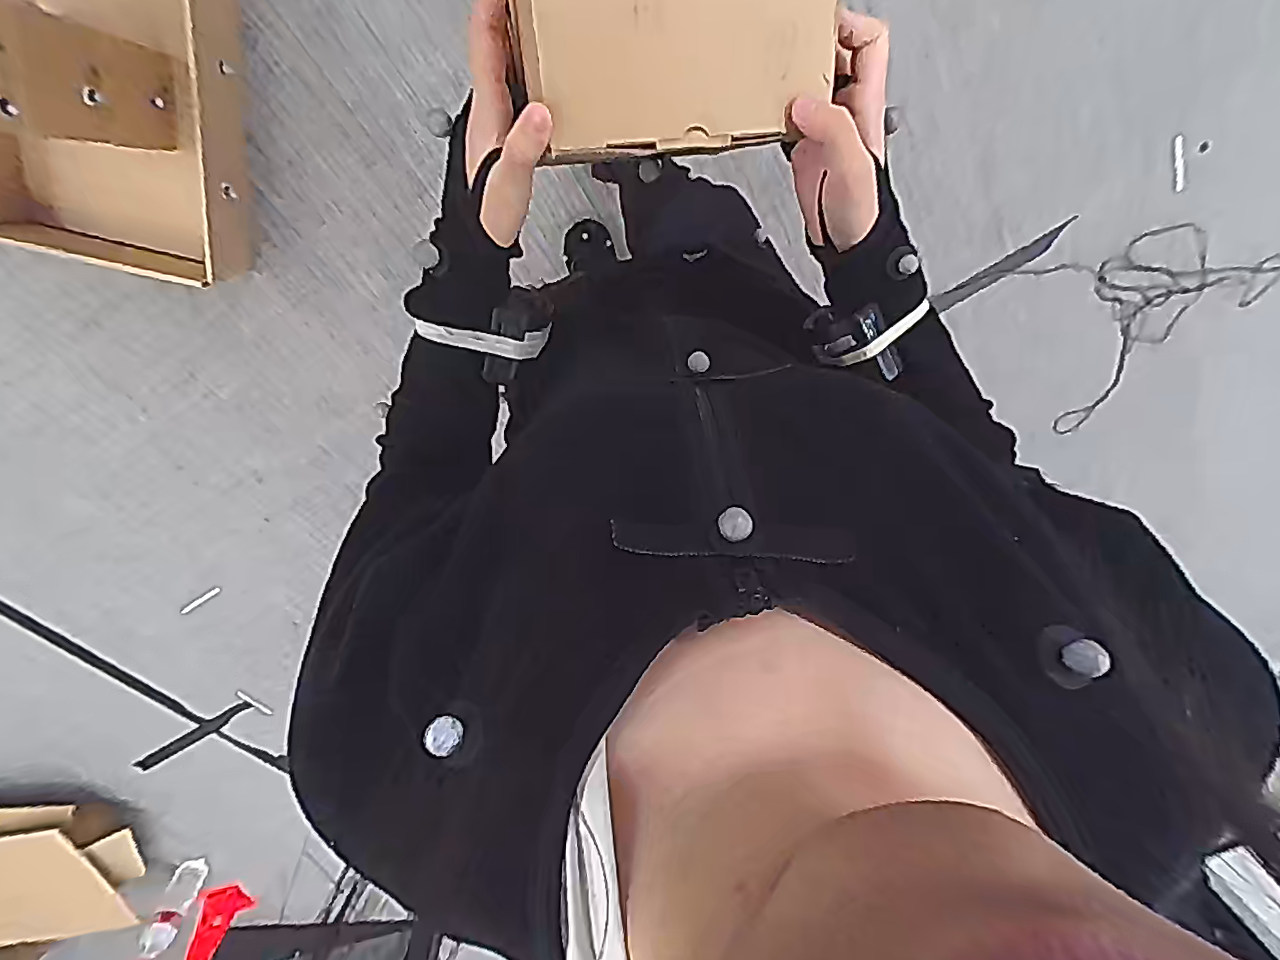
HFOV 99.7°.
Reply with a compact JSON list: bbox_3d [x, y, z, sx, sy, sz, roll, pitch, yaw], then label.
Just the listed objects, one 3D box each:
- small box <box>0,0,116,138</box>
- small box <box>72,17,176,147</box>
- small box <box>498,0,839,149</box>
[{"bbox_3d":[-0.948,-0.628,0.803,0.179,0.176,0.168,12,117,-14],"label":"small box"},{"bbox_3d":[-0.966,-0.703,0.946,0.179,0.176,0.168,13,116,-14],"label":"small box"},{"bbox_3d":[0.004,-0.304,0.323,0.168,0.176,0.179,-12,120,-12],"label":"small box"}]
